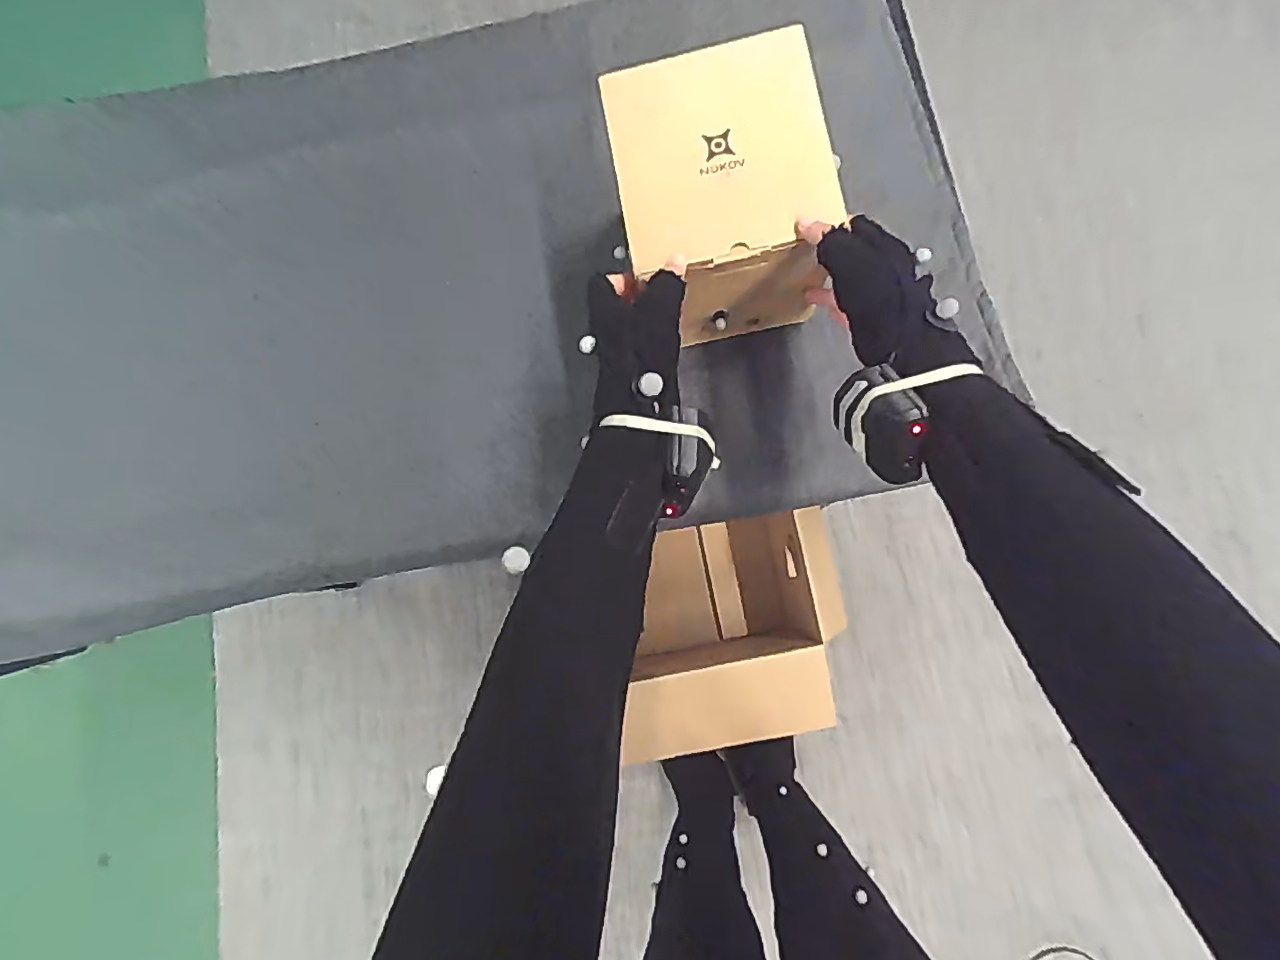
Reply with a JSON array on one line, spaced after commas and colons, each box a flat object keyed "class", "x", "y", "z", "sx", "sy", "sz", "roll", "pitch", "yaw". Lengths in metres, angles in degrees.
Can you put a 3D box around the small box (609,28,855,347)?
[{"class": "small box", "x": 0.074, "y": -0.245, "z": 0.494, "sx": 0.168, "sy": 0.176, "sz": 0.179, "roll": -10, "pitch": 83, "yaw": 5}]
